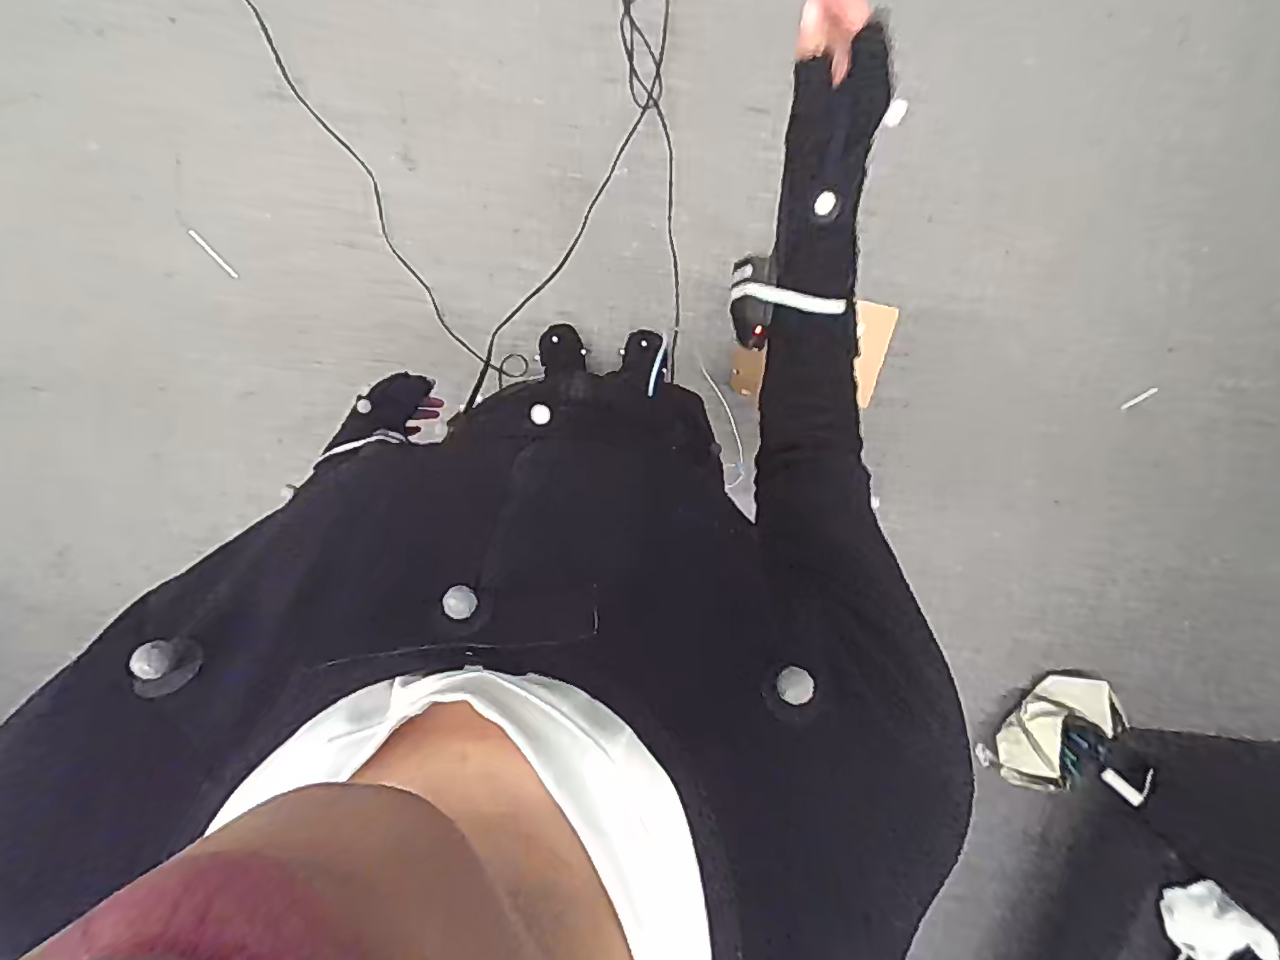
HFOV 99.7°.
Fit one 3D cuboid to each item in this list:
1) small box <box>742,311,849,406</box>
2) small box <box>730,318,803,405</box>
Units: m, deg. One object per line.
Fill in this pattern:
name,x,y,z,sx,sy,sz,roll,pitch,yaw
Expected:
small box,0.327,-0.268,1.175,0.168,0.176,0.179,6,108,-2
small box,0.328,-0.298,1.338,0.168,0.176,0.179,9,107,-3
